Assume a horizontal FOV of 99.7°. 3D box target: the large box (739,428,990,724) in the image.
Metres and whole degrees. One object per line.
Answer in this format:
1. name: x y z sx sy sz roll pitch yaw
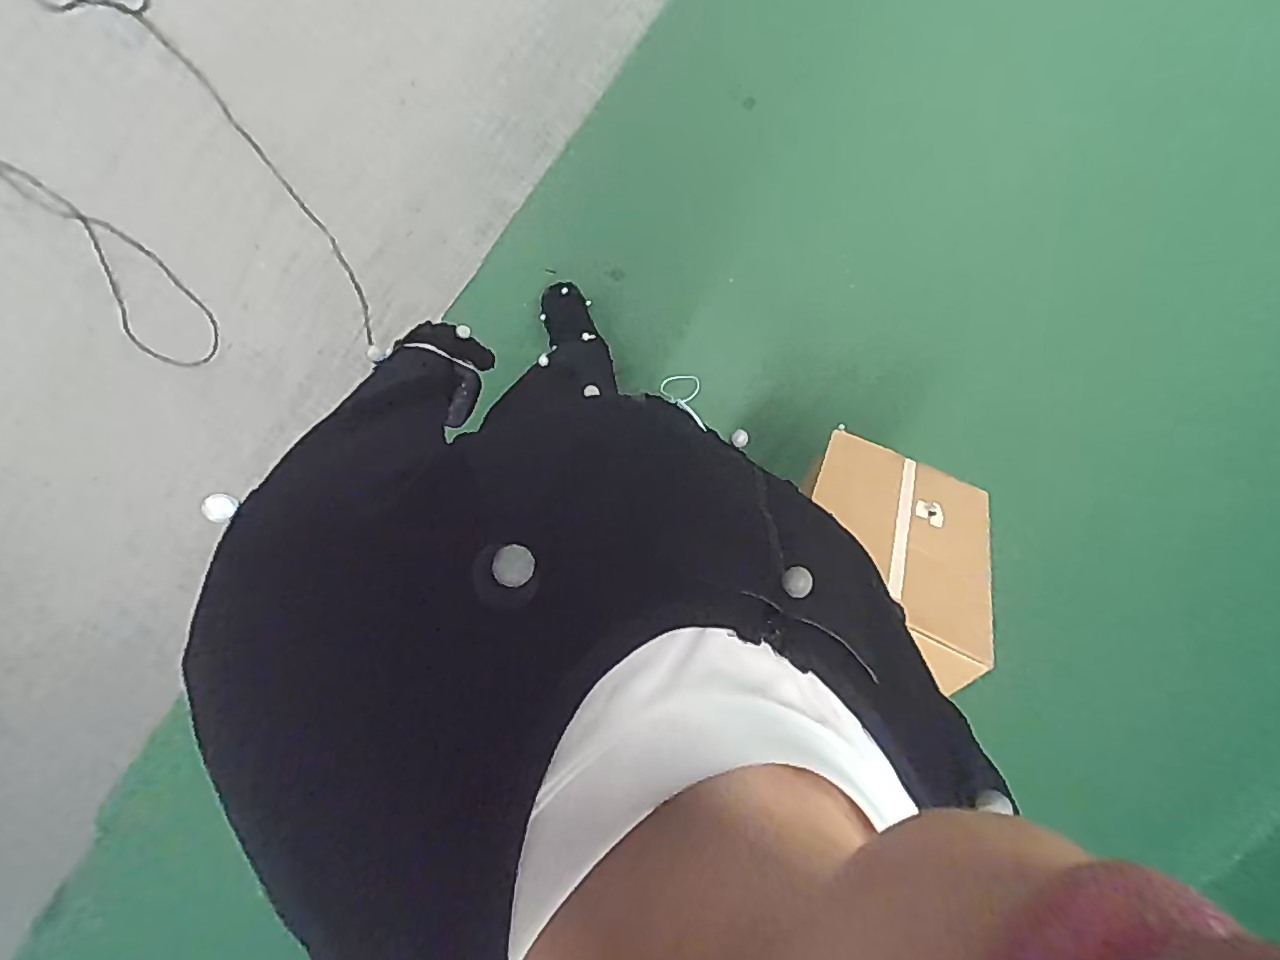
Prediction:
1. large box: 0.424 0.176 1.050 0.320 0.408 0.320 25 136 9
